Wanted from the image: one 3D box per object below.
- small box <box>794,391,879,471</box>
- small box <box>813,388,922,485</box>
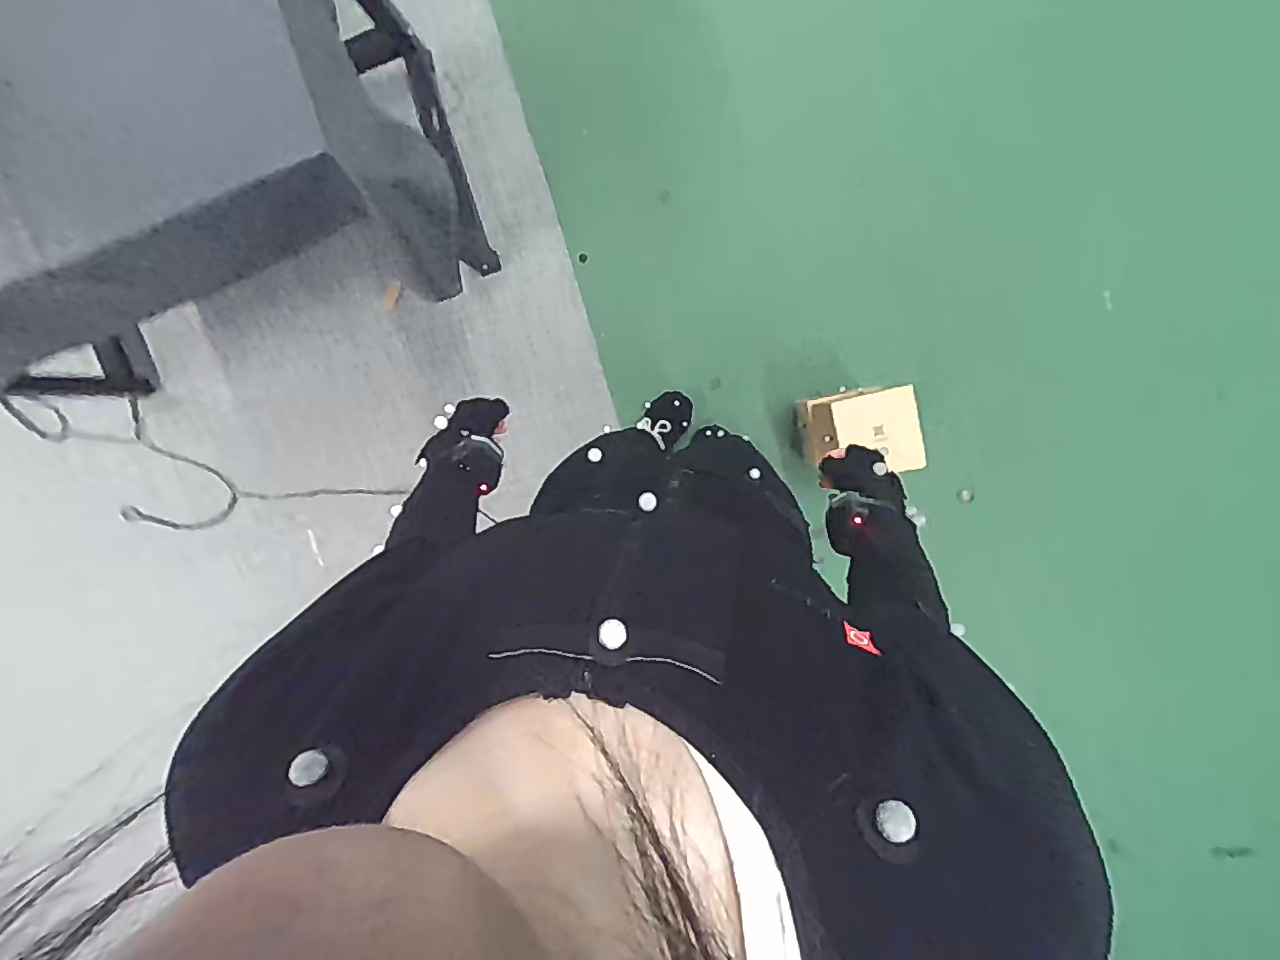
[{"bbox_3d":[0.493,-0.123,1.351,0.179,0.176,0.168,-11,96,6],"label":"small box"},{"bbox_3d":[0.490,-0.097,1.188,0.168,0.176,0.179,-12,97,6],"label":"small box"}]
